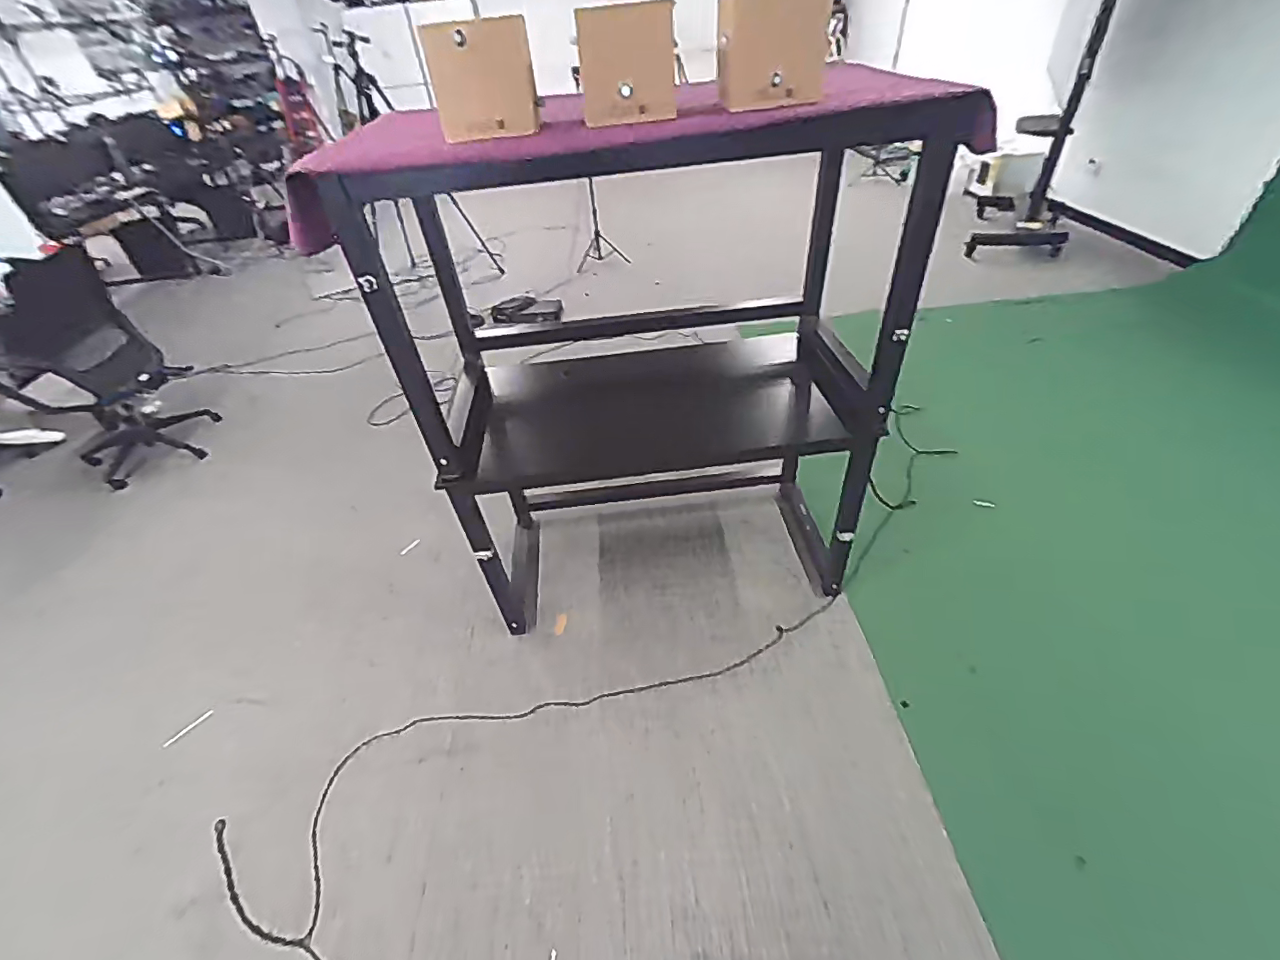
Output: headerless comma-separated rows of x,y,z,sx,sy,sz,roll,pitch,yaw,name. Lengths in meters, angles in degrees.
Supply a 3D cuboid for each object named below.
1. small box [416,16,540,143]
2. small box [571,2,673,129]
-0.282,-0.725,0.984,0.168,0.176,0.179,-7,39,-1,small box
-0.030,-0.754,0.989,0.168,0.176,0.179,-6,41,0,small box
